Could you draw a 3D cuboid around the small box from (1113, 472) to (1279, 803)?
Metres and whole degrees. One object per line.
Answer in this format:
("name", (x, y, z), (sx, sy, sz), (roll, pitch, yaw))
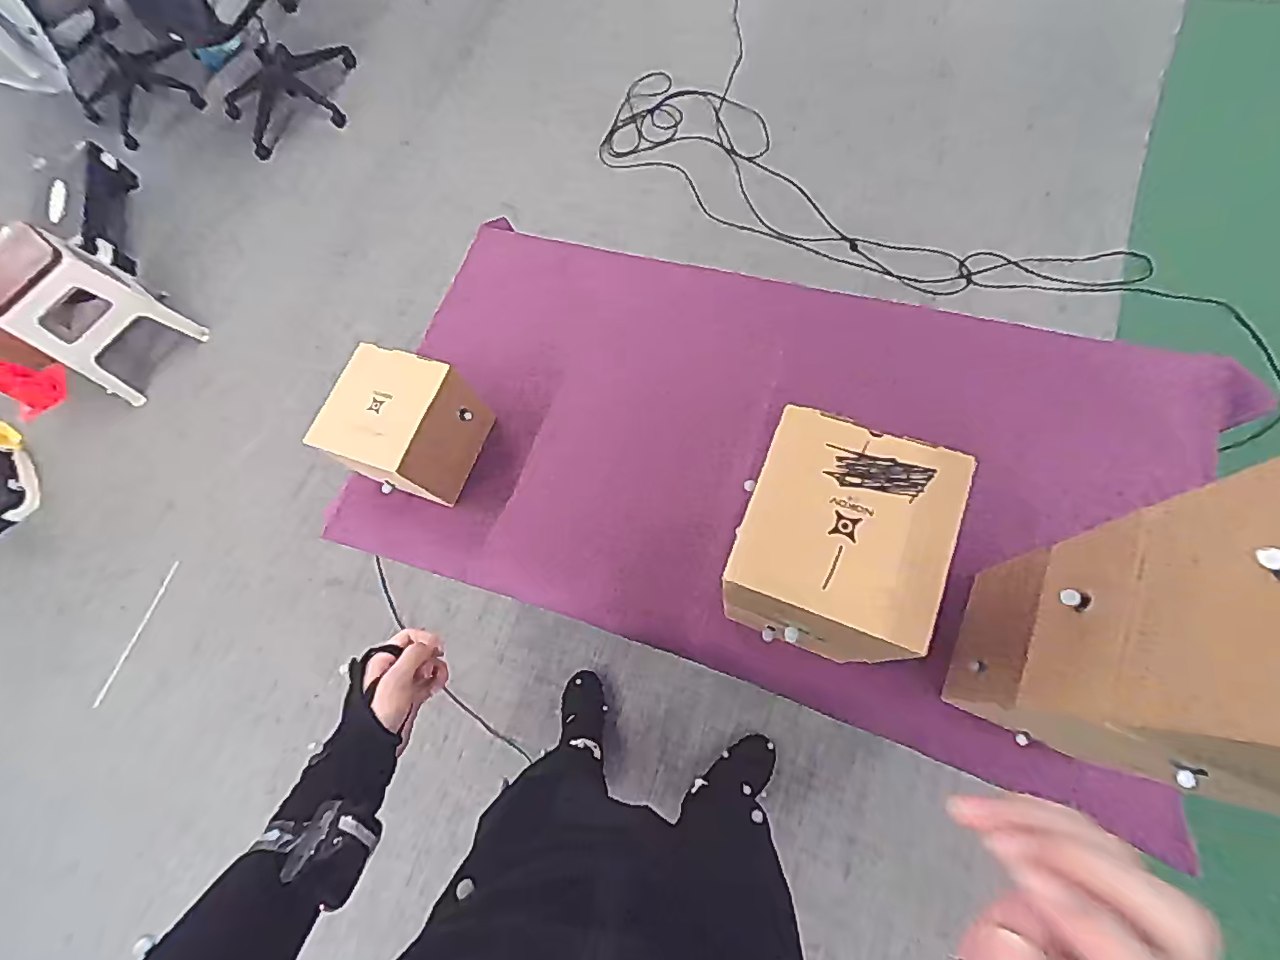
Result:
("small box", (0.415, 0.096, 0.297), (0.168, 0.176, 0.179), (22, 76, 17))

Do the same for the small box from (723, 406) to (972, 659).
("small box", (0.187, 0.059, 0.530), (0.168, 0.176, 0.179), (20, 75, 16))

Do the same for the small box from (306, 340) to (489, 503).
("small box", (-0.361, -0.085, 0.846), (0.168, 0.176, 0.179), (17, 75, 15))

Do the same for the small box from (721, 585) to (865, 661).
("small box", (0.211, 0.115, 0.681), (0.168, 0.176, 0.179), (18, 73, 16))
